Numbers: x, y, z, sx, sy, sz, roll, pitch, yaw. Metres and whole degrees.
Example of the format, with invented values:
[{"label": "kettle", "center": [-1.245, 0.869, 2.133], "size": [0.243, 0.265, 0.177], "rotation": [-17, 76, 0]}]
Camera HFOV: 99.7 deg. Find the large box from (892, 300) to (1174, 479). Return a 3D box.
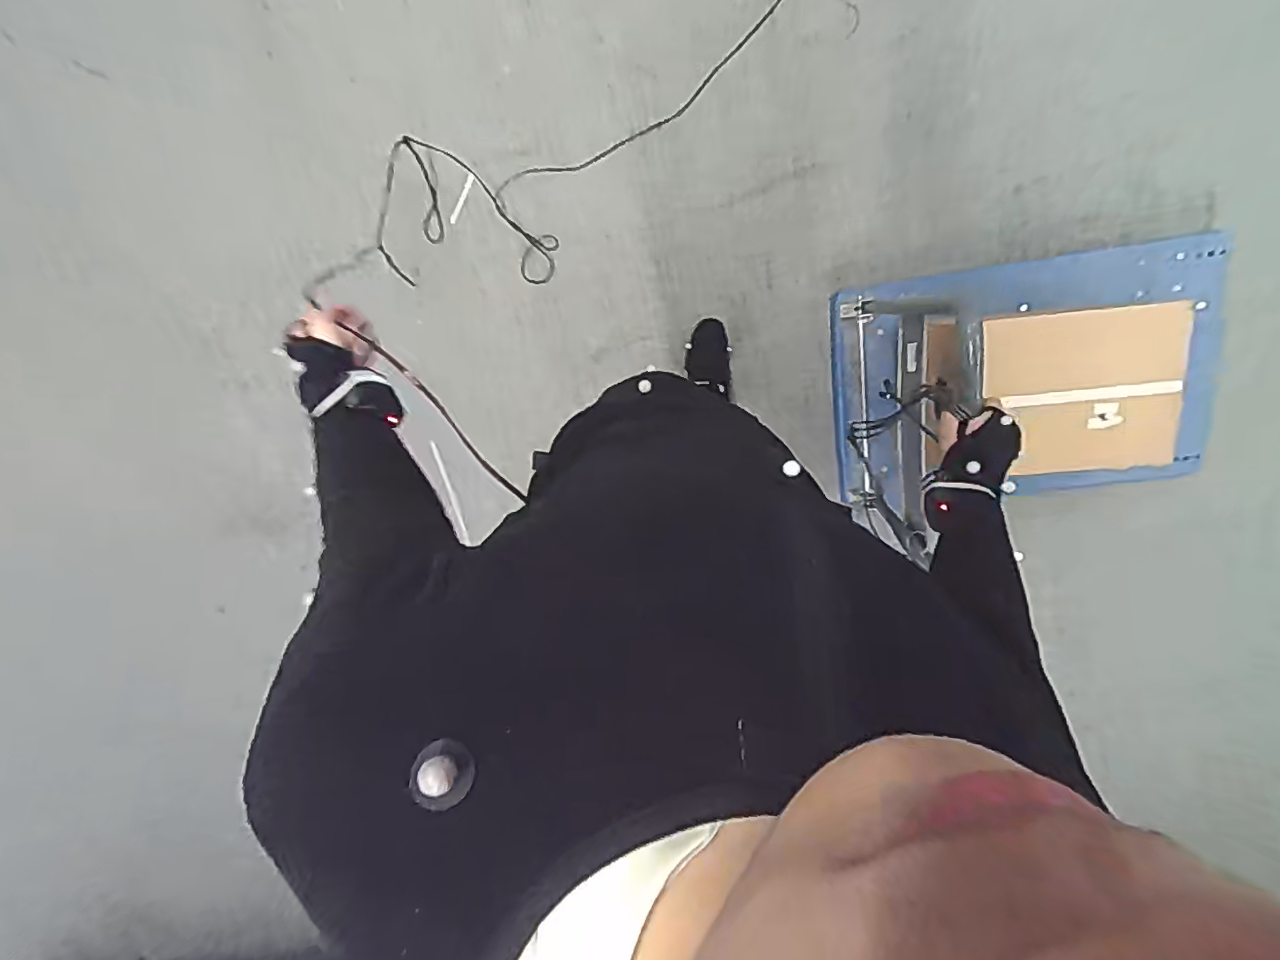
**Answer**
[{"label": "large box", "center": [0.819, -0.204, 1.197], "size": [0.408, 0.320, 0.320], "rotation": [-5, 105, 5]}]
